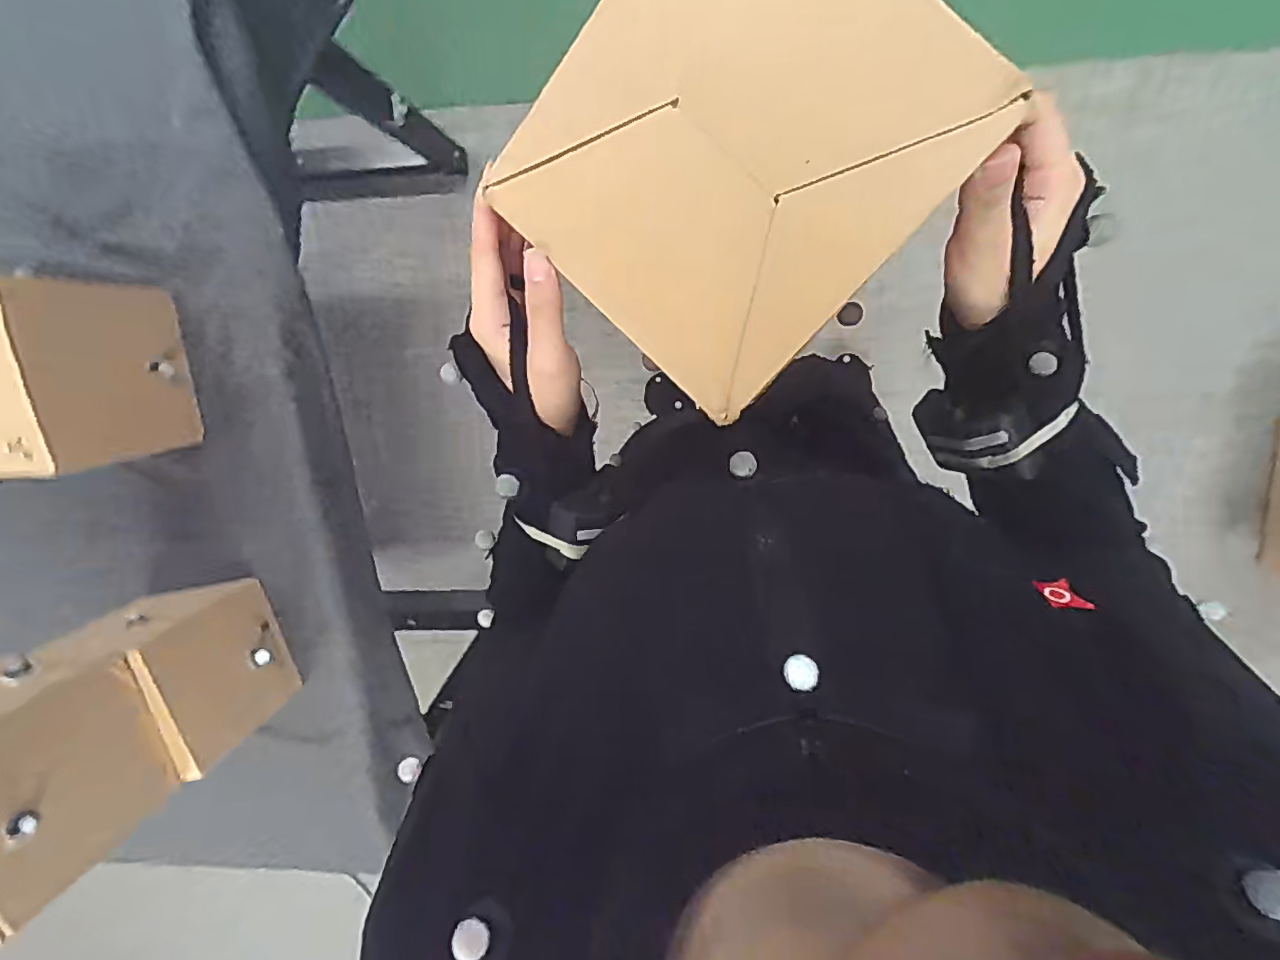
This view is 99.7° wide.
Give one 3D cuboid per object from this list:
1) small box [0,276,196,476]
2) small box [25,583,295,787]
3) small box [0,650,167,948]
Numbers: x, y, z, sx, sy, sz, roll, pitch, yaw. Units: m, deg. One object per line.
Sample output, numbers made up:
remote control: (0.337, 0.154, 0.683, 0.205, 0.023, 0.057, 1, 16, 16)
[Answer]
small box: (-0.615, -0.107, 0.556, 0.168, 0.176, 0.179, -1, 105, 4)
small box: (-0.569, 0.242, 0.650, 0.179, 0.176, 0.168, -11, 105, 6)
small box: (-0.596, 0.282, 0.494, 0.168, 0.176, 0.179, -7, 104, 5)
